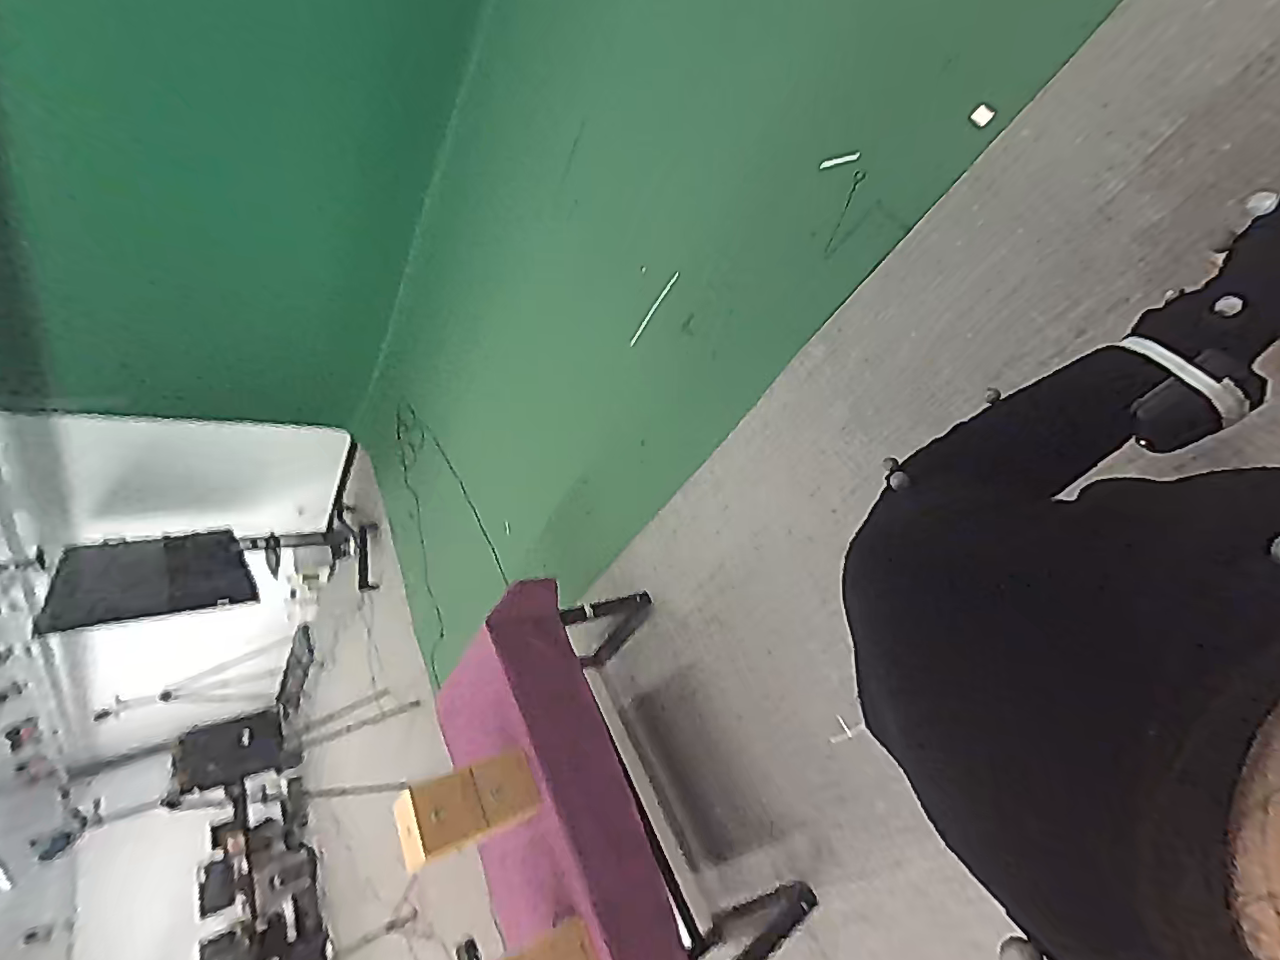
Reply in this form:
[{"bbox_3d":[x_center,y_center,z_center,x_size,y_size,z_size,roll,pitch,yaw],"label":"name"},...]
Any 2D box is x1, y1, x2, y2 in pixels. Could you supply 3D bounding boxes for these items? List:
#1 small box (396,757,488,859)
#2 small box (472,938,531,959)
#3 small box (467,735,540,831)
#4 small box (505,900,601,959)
[{"bbox_3d":[-0.537,0.882,1.472,0.168,0.176,0.179,-52,56,35],"label":"small box"},{"bbox_3d":[-0.345,1.220,1.270,0.168,0.176,0.179,-50,57,37],"label":"small box"},{"bbox_3d":[-0.415,0.880,1.580,0.168,0.176,0.179,-52,55,35],"label":"small box"},{"bbox_3d":[-0.223,1.217,1.379,0.179,0.176,0.168,-52,56,37],"label":"small box"}]
